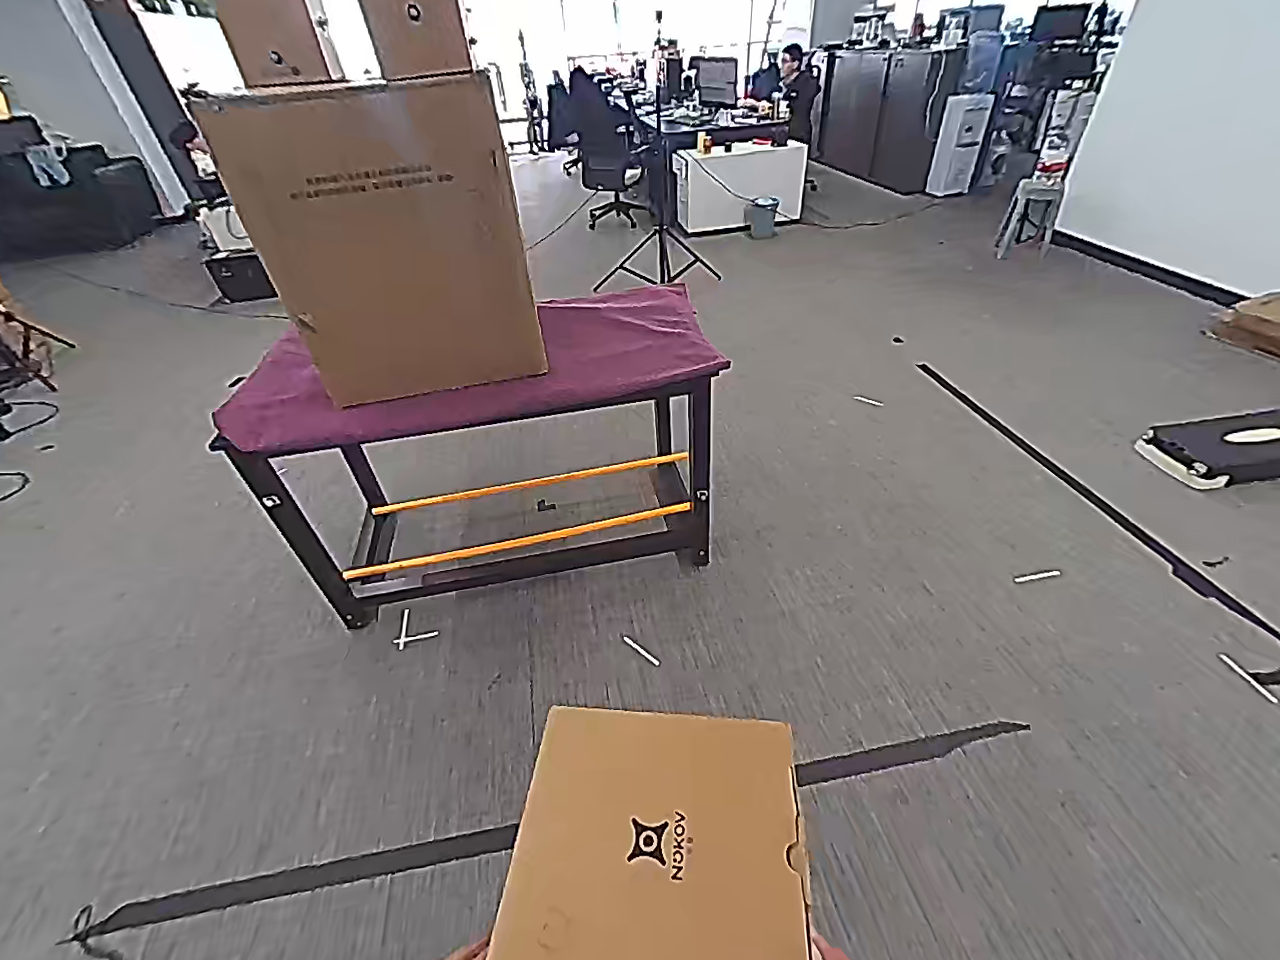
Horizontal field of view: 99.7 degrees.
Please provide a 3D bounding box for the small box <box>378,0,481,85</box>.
[{"bbox_3d":[-0.447,-0.960,1.162,0.168,0.176,0.179,-11,40,-5],"label":"small box"}]

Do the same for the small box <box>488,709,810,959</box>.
[{"bbox_3d":[0.018,0.286,0.383,0.179,0.176,0.168,0,38,8],"label":"small box"}]
